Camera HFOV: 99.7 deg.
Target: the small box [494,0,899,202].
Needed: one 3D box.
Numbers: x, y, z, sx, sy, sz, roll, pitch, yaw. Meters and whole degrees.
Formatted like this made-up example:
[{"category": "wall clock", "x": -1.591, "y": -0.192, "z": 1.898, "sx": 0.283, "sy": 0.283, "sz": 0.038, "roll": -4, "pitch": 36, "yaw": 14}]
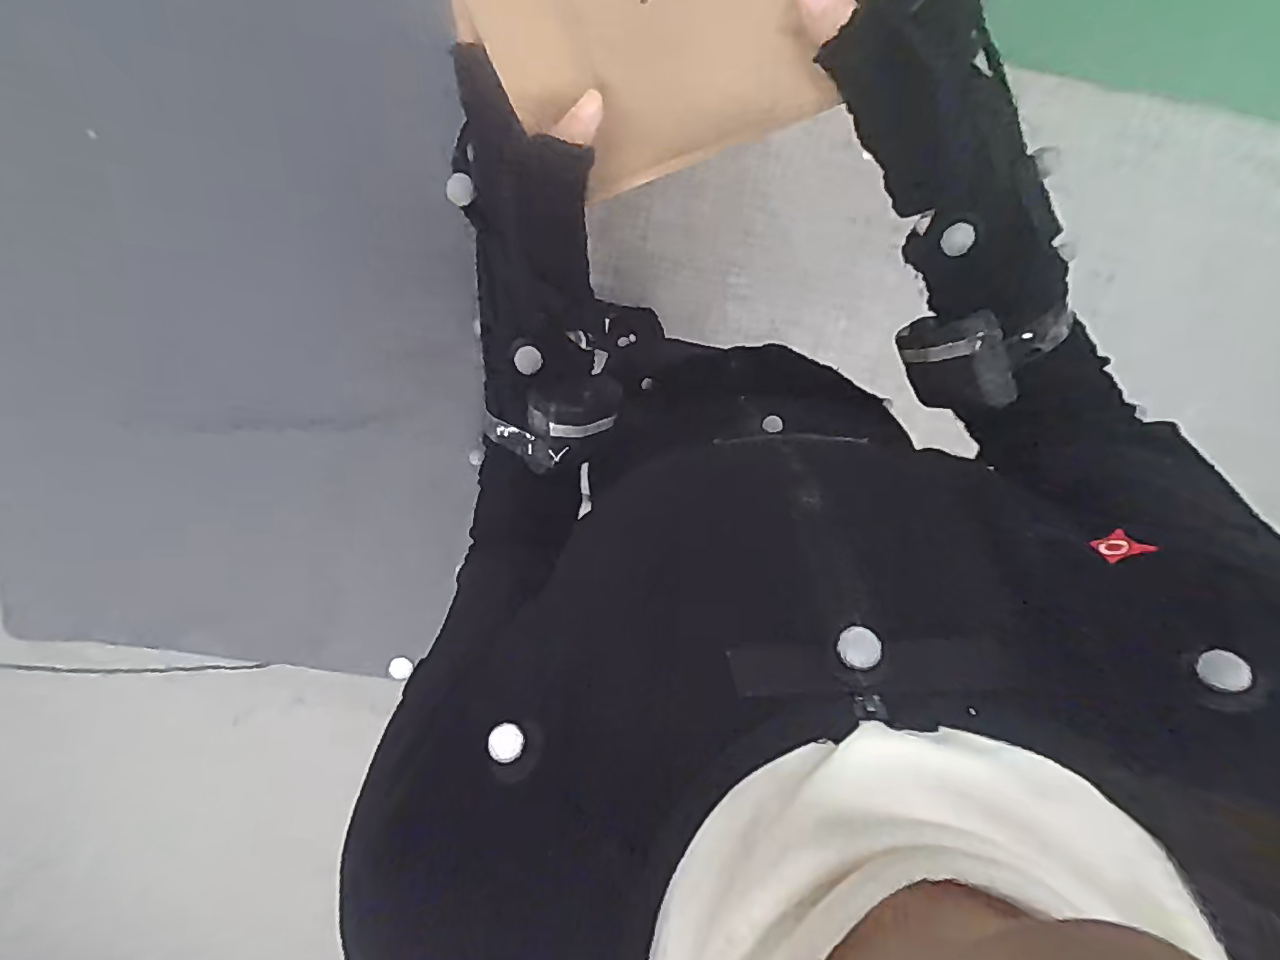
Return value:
[{"category": "small box", "x": 0.015, "y": -0.285, "z": 0.277, "sx": 0.179, "sy": 0.176, "sz": 0.168, "roll": -15, "pitch": 139, "yaw": 12}]
